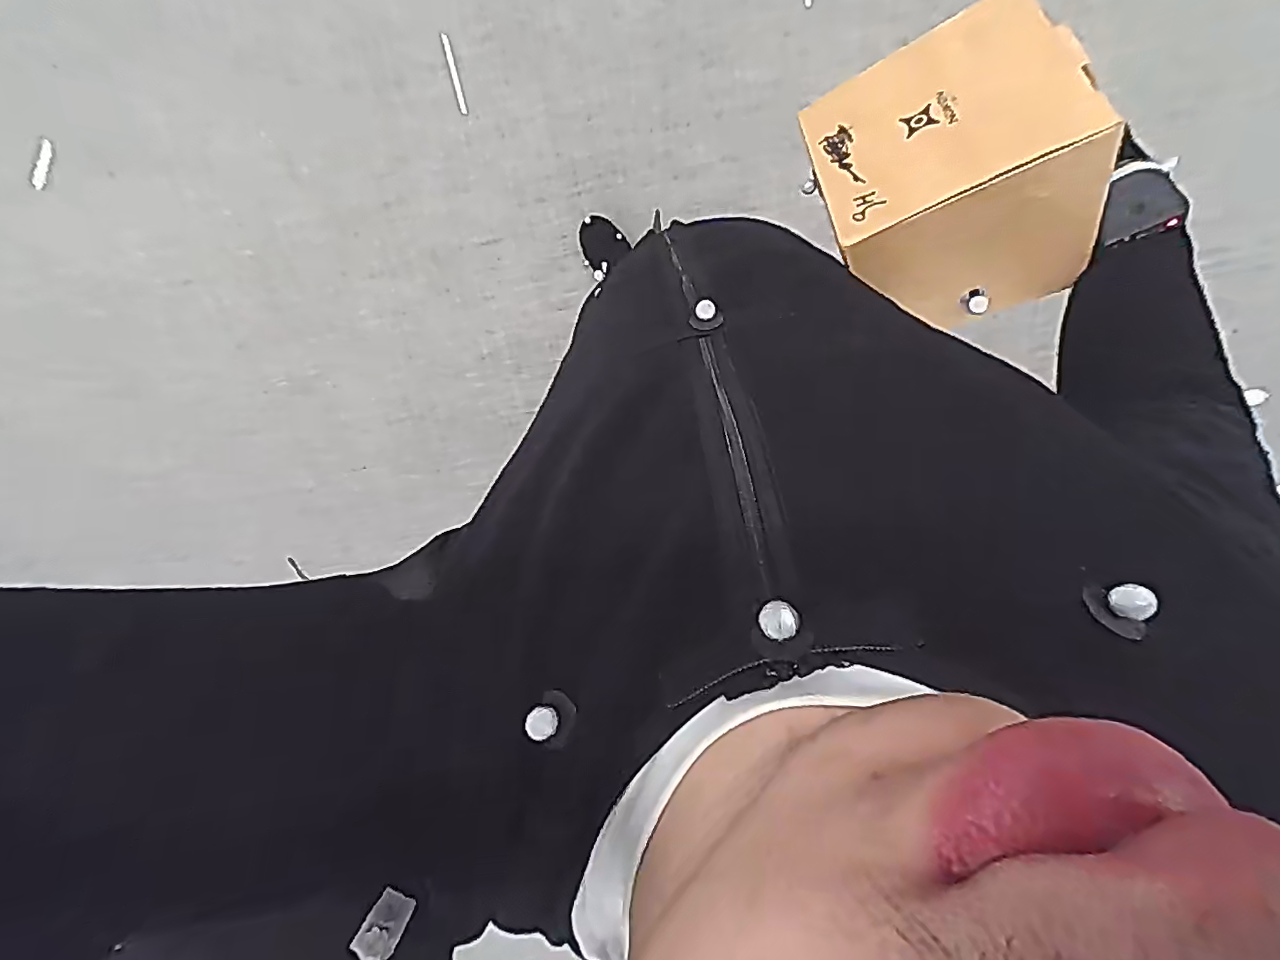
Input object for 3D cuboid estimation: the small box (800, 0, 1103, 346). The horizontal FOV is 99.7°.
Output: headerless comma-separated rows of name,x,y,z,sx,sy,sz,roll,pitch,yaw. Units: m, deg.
small box,0.265,-0.254,0.490,0.179,0.168,0.176,-18,153,25
